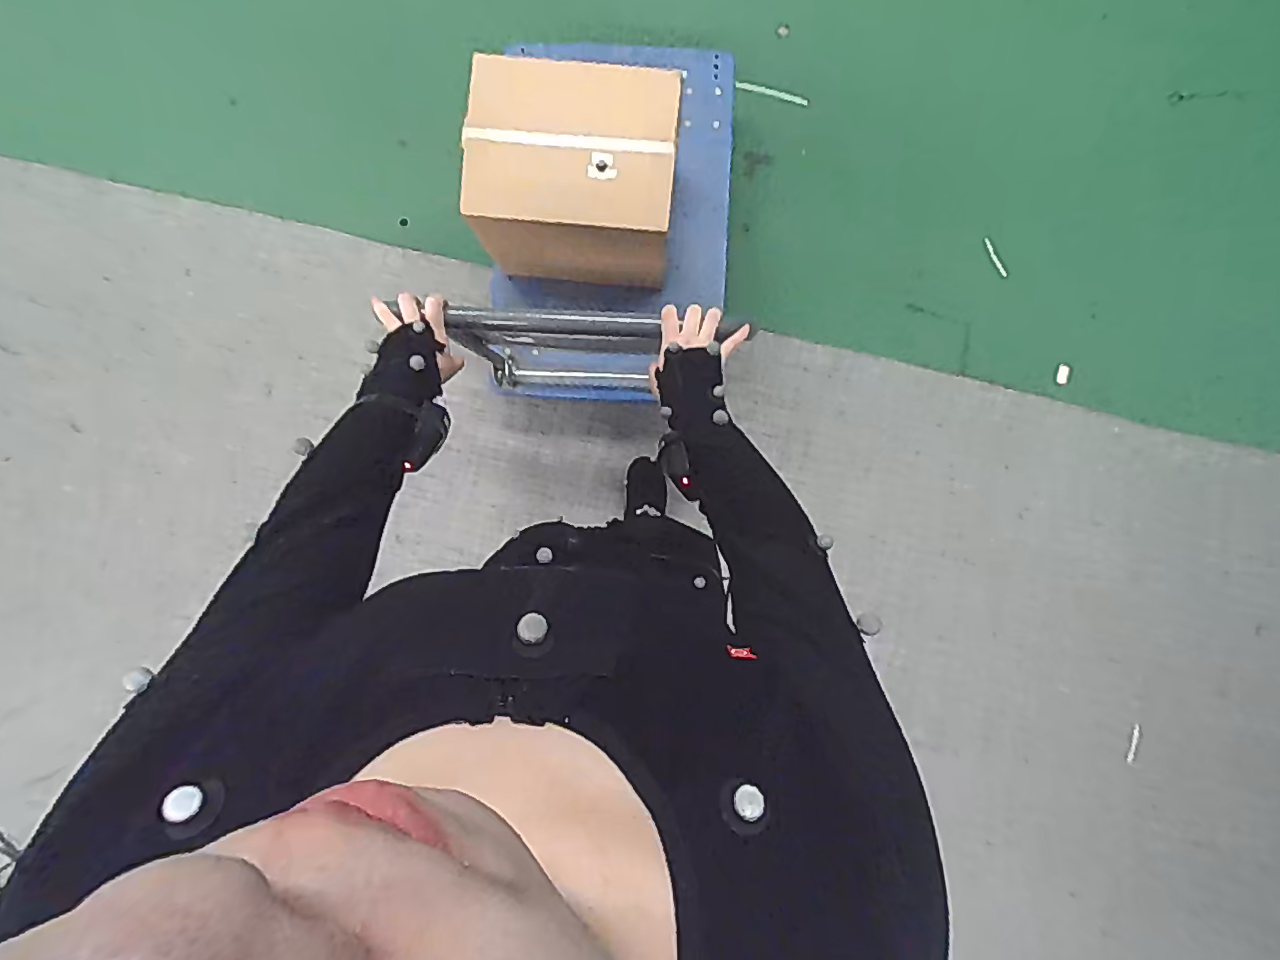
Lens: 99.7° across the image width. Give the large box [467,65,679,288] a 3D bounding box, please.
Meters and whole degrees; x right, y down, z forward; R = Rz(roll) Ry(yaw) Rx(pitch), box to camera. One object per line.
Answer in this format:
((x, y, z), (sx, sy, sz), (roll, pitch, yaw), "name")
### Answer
((-0.134, -0.646, 1.206), (0.408, 0.320, 0.320), (5, 89, 0), "large box")
